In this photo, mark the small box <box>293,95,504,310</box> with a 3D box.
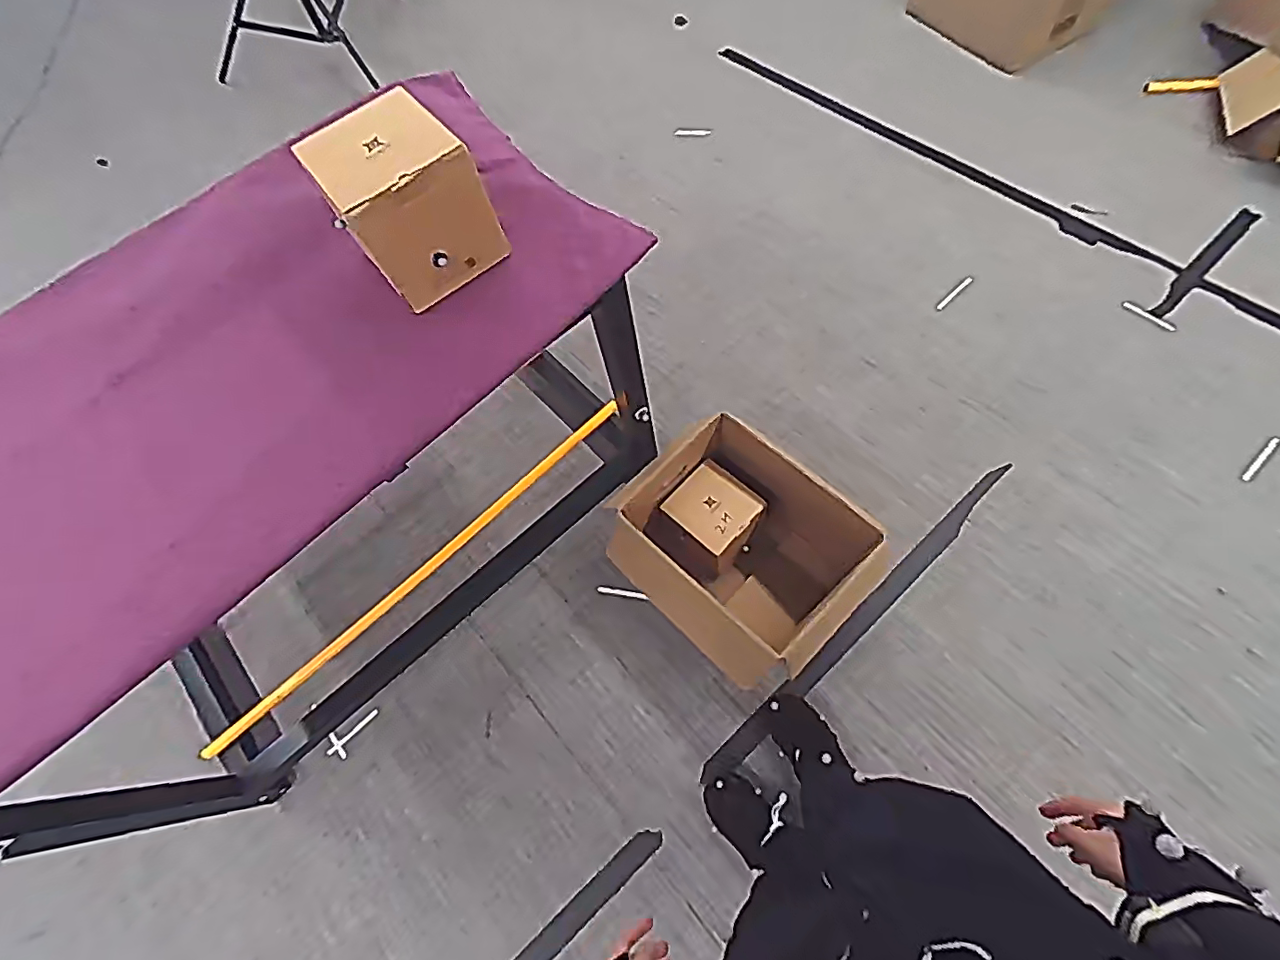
[{"bbox_3d":[-0.317,-0.370,0.738,0.168,0.176,0.179,-38,67,-10],"label":"small box"}]
